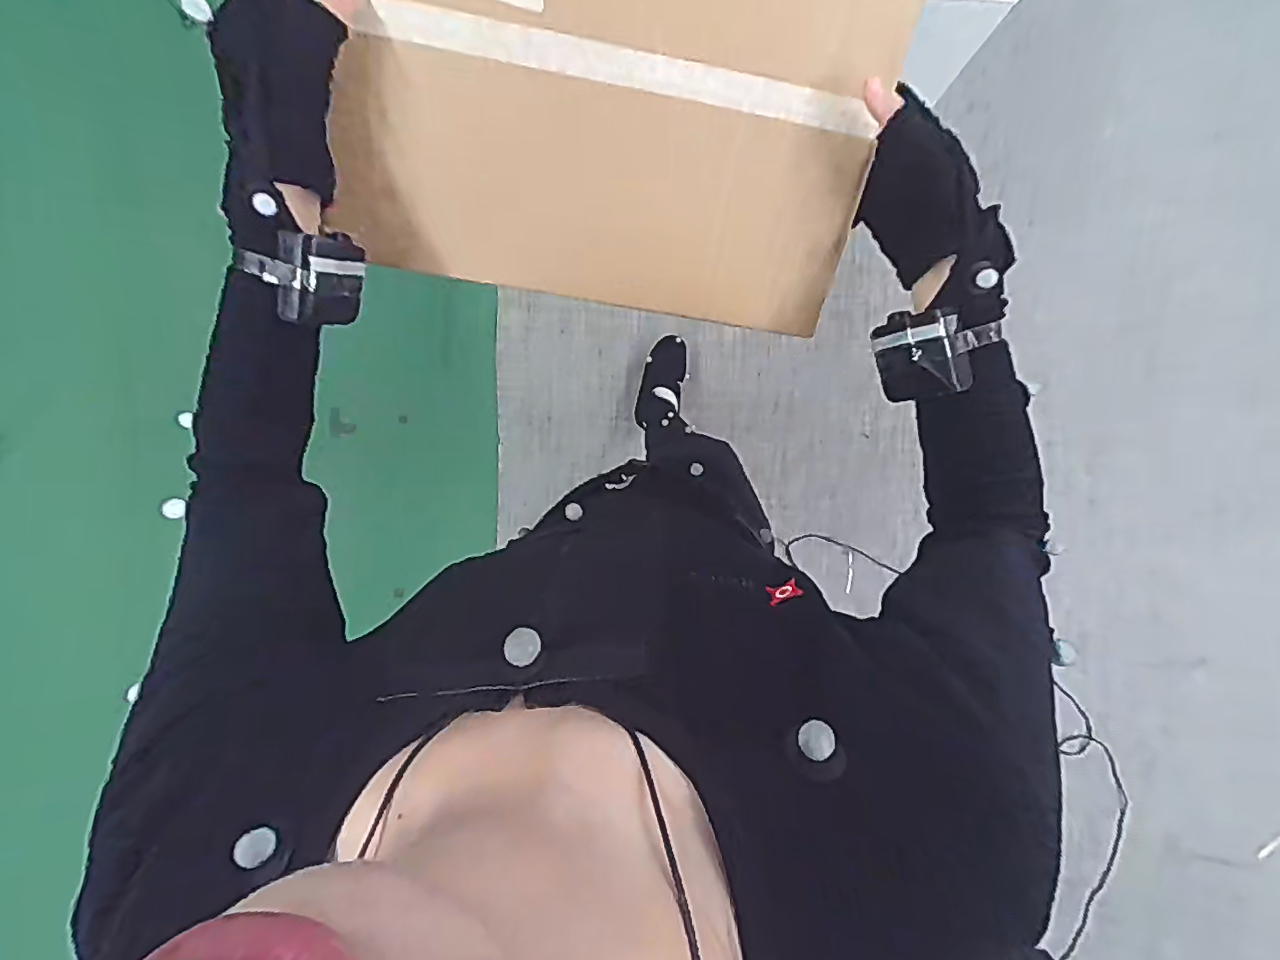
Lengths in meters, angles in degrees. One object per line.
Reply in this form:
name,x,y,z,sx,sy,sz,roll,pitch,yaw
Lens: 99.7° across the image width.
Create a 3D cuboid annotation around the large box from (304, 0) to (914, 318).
large box,-0.023,-0.367,0.496,0.408,0.320,0.320,8,119,-5
